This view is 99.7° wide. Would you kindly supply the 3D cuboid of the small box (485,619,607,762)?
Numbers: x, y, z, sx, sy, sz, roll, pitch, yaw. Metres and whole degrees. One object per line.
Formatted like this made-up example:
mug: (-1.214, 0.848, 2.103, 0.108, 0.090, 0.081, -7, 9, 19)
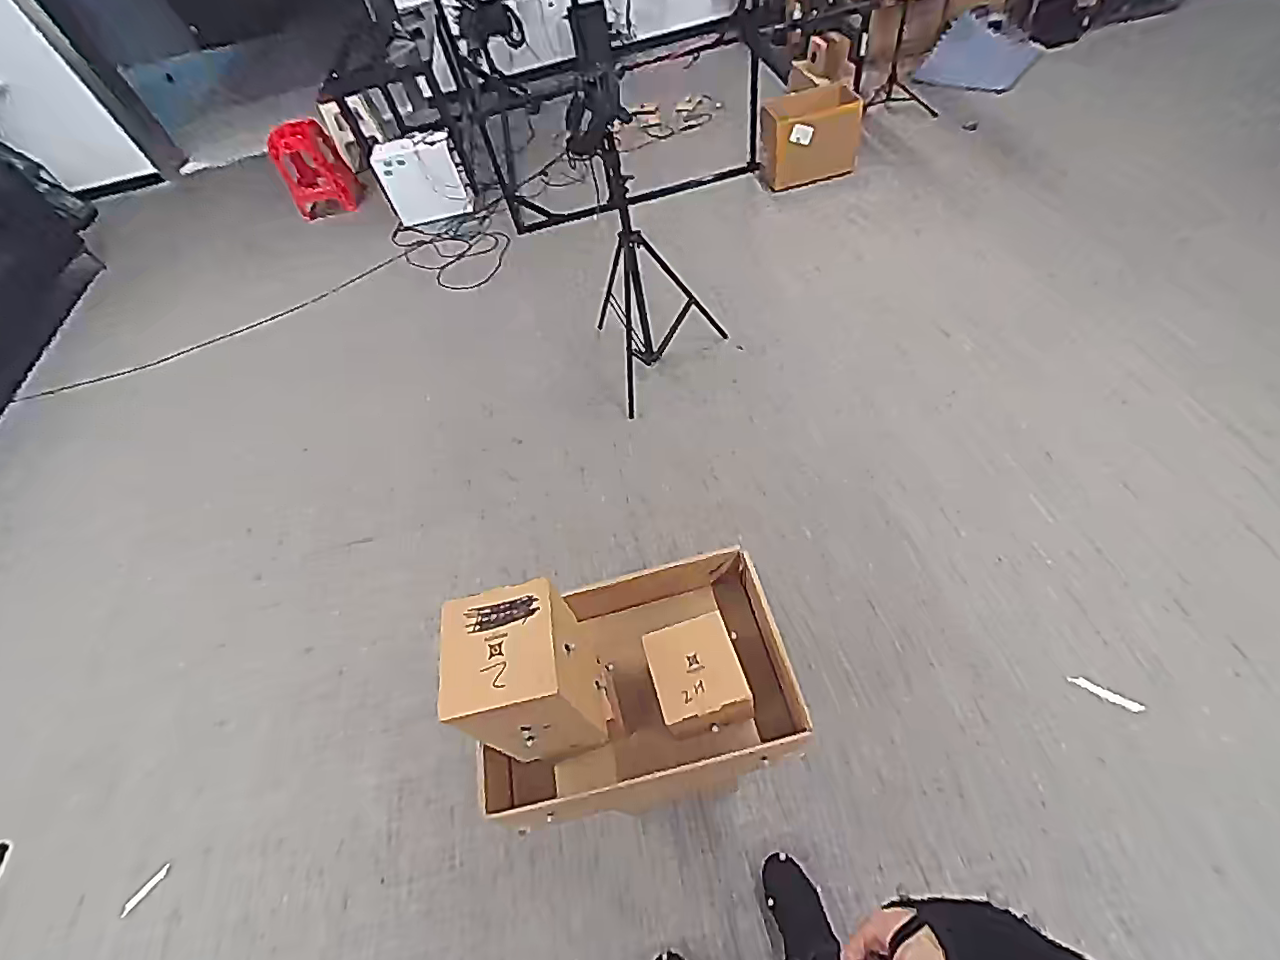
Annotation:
small box: (-0.164, 0.375, 0.957, 0.168, 0.176, 0.179, -15, 52, 1)
